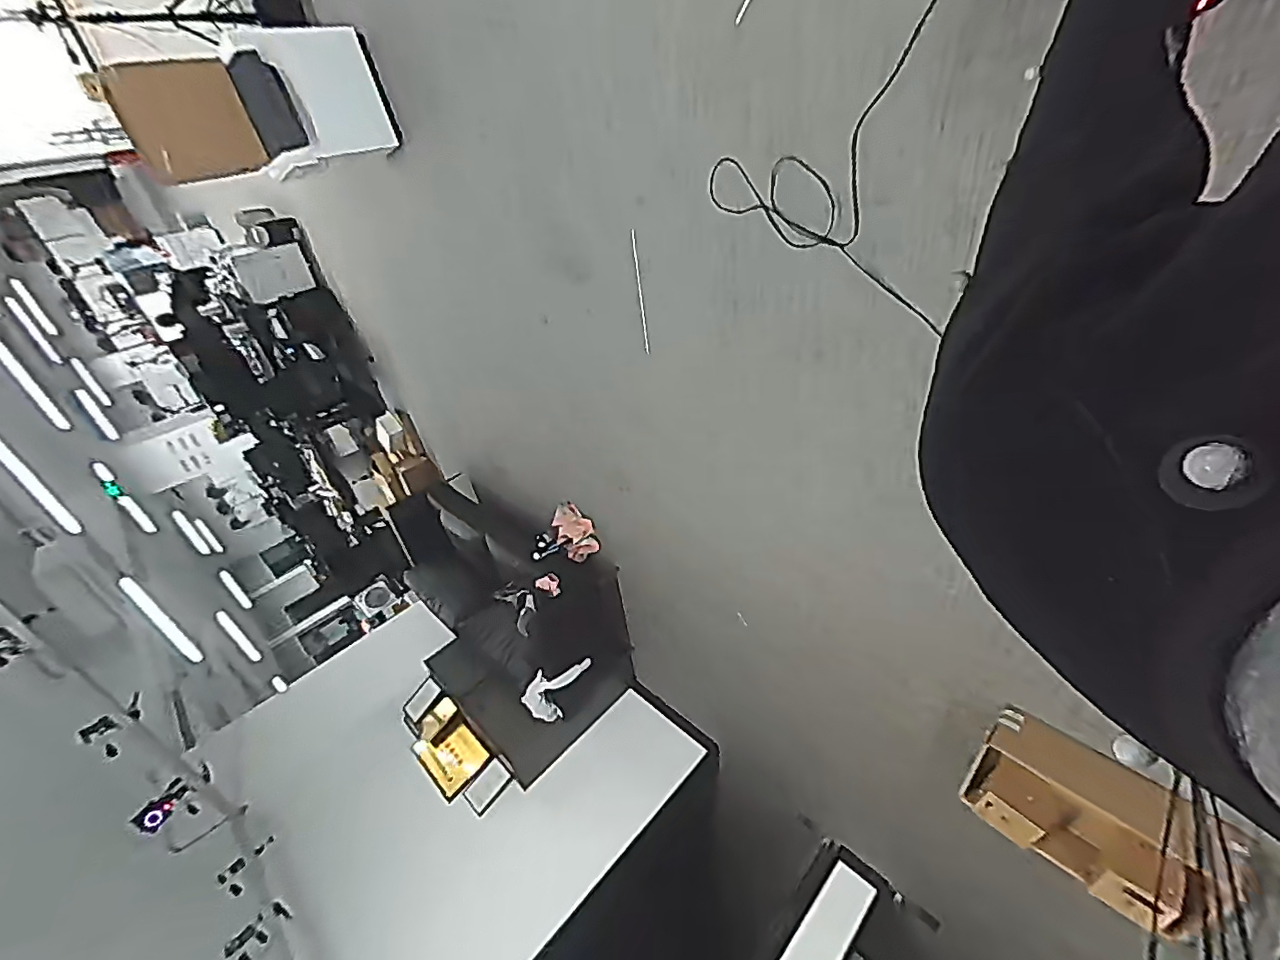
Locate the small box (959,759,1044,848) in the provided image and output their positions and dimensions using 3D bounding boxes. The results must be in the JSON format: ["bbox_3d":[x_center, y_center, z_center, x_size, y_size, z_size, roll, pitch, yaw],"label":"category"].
[{"bbox_3d":[1.254,1.116,1.874,0.179,0.176,0.168,33,139,30],"label":"small box"}]
